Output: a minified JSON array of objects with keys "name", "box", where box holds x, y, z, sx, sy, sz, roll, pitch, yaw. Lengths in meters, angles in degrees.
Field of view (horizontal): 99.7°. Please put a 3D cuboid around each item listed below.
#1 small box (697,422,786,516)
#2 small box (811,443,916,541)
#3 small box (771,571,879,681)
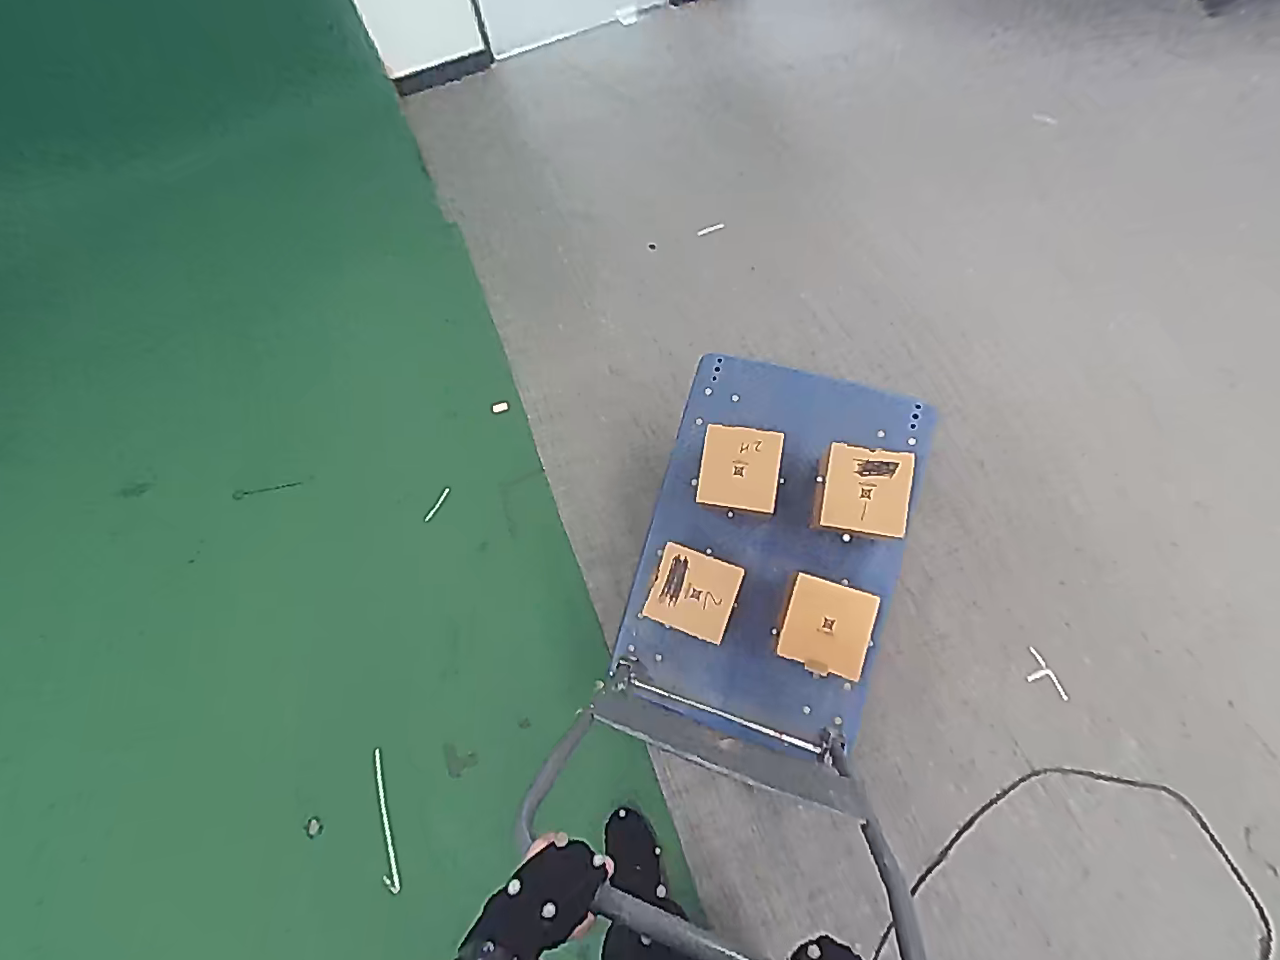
[{"name":"small box","box":[0.229,-0.018,1.232,0.168,0.176,0.179,10,84,10]},{"name":"small box","box":[0.480,0.032,1.183,0.168,0.176,0.179,10,84,11]},{"name":"small box","box":[0.387,0.302,1.161,0.168,0.176,0.179,17,86,12]}]
